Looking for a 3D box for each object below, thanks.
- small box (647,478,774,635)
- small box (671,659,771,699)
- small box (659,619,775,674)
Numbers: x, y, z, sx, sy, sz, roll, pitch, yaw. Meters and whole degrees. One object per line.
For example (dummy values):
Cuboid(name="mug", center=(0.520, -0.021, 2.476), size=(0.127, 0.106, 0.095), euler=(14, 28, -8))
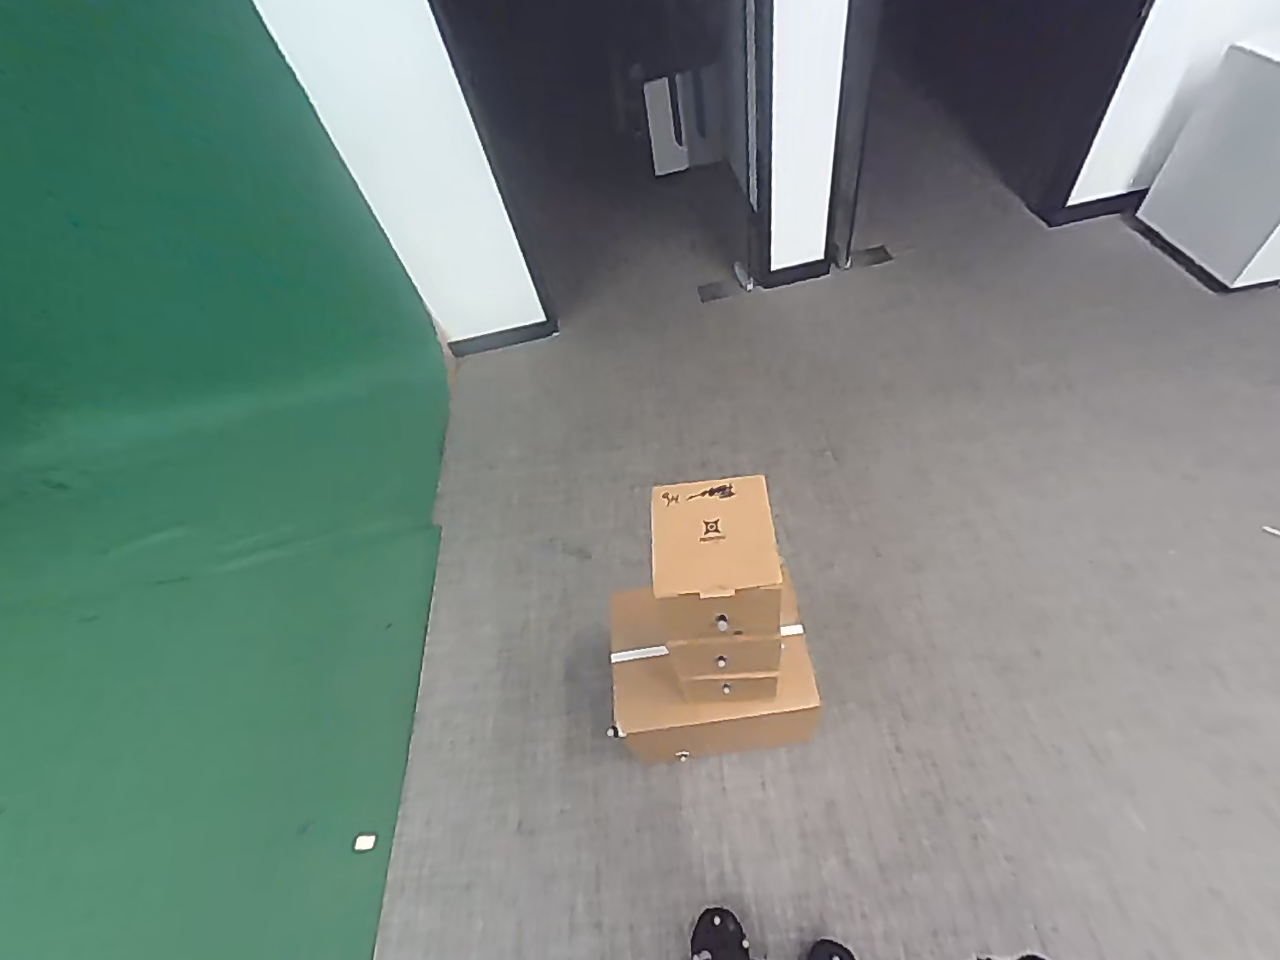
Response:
Cuboid(name="small box", center=(0.105, 0.120, 0.796), size=(0.168, 0.176, 0.179), euler=(-6, 55, 8))
Cuboid(name="small box", center=(0.155, 0.321, 1.050), size=(0.179, 0.176, 0.168), euler=(-4, 55, 7))
Cuboid(name="small box", center=(0.129, 0.223, 0.922), size=(0.179, 0.176, 0.168), euler=(-7, 54, 9))
